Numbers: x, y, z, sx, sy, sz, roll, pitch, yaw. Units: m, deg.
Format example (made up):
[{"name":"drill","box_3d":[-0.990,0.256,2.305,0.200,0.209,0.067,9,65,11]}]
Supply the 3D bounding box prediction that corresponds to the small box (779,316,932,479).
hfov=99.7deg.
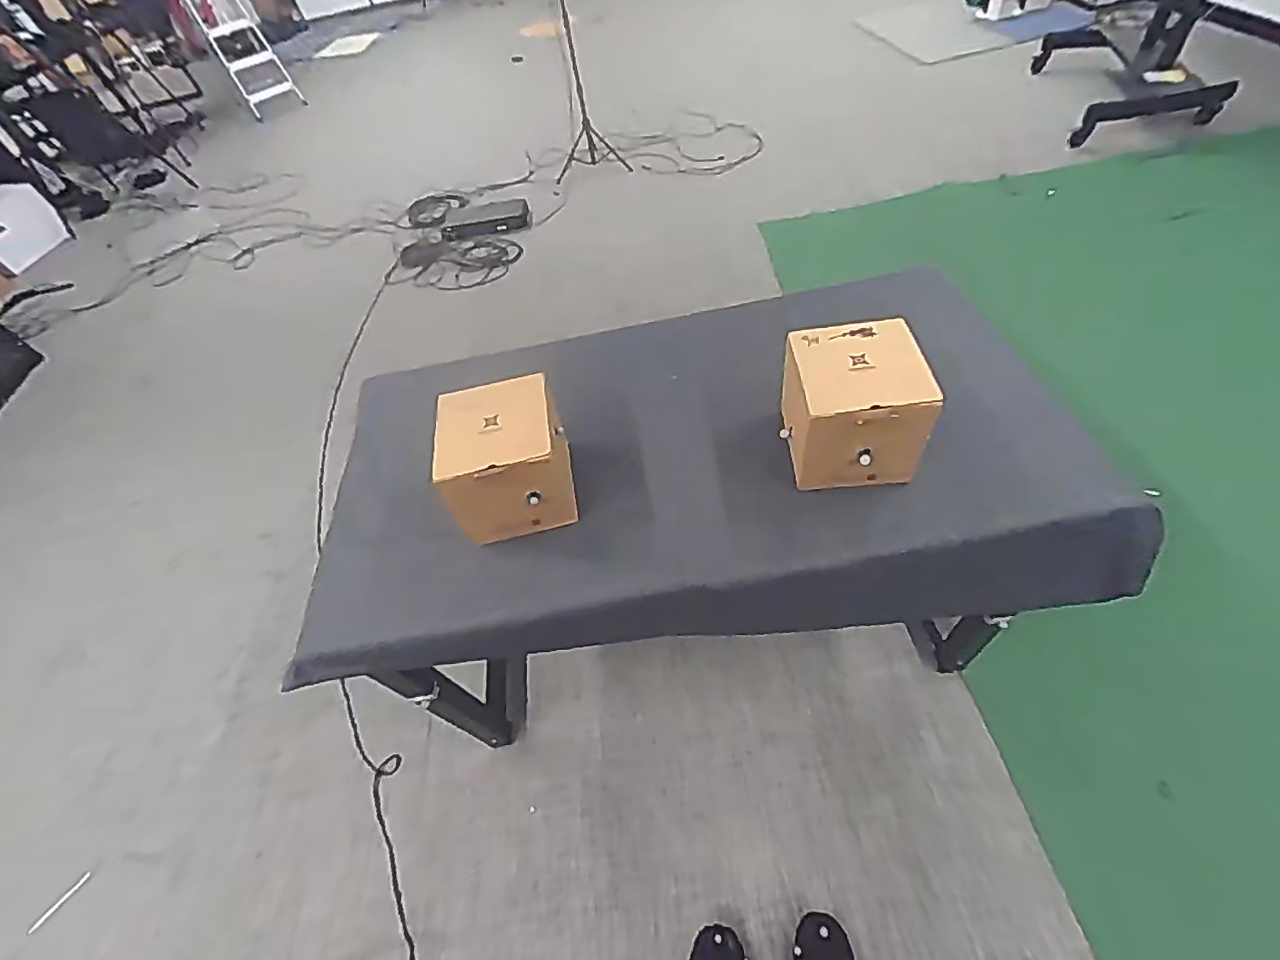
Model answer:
[{"name":"small box","box_3d":[0.305,-0.113,0.807,0.168,0.176,0.179,-5,54,7]}]

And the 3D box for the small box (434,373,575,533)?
[{"name":"small box","box_3d":[-0.204,-0.033,0.846,0.168,0.176,0.179,-13,51,-1]}]
